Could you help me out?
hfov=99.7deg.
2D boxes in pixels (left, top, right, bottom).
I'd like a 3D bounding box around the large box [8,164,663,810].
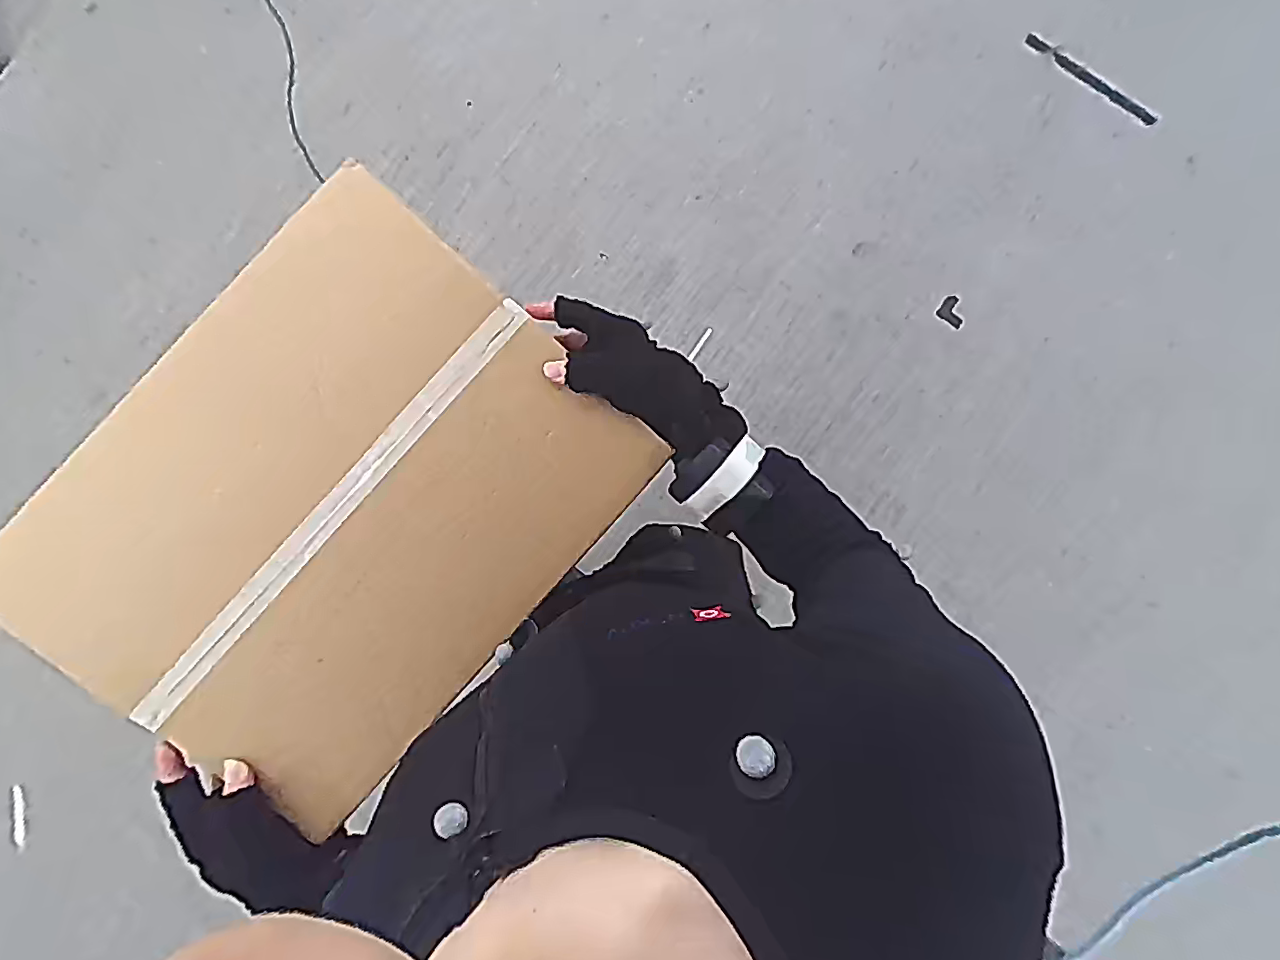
[{"bbox_3d":[-0.234,0.006,0.557,0.320,0.320,0.408,42,89,-8],"label":"large box"}]
